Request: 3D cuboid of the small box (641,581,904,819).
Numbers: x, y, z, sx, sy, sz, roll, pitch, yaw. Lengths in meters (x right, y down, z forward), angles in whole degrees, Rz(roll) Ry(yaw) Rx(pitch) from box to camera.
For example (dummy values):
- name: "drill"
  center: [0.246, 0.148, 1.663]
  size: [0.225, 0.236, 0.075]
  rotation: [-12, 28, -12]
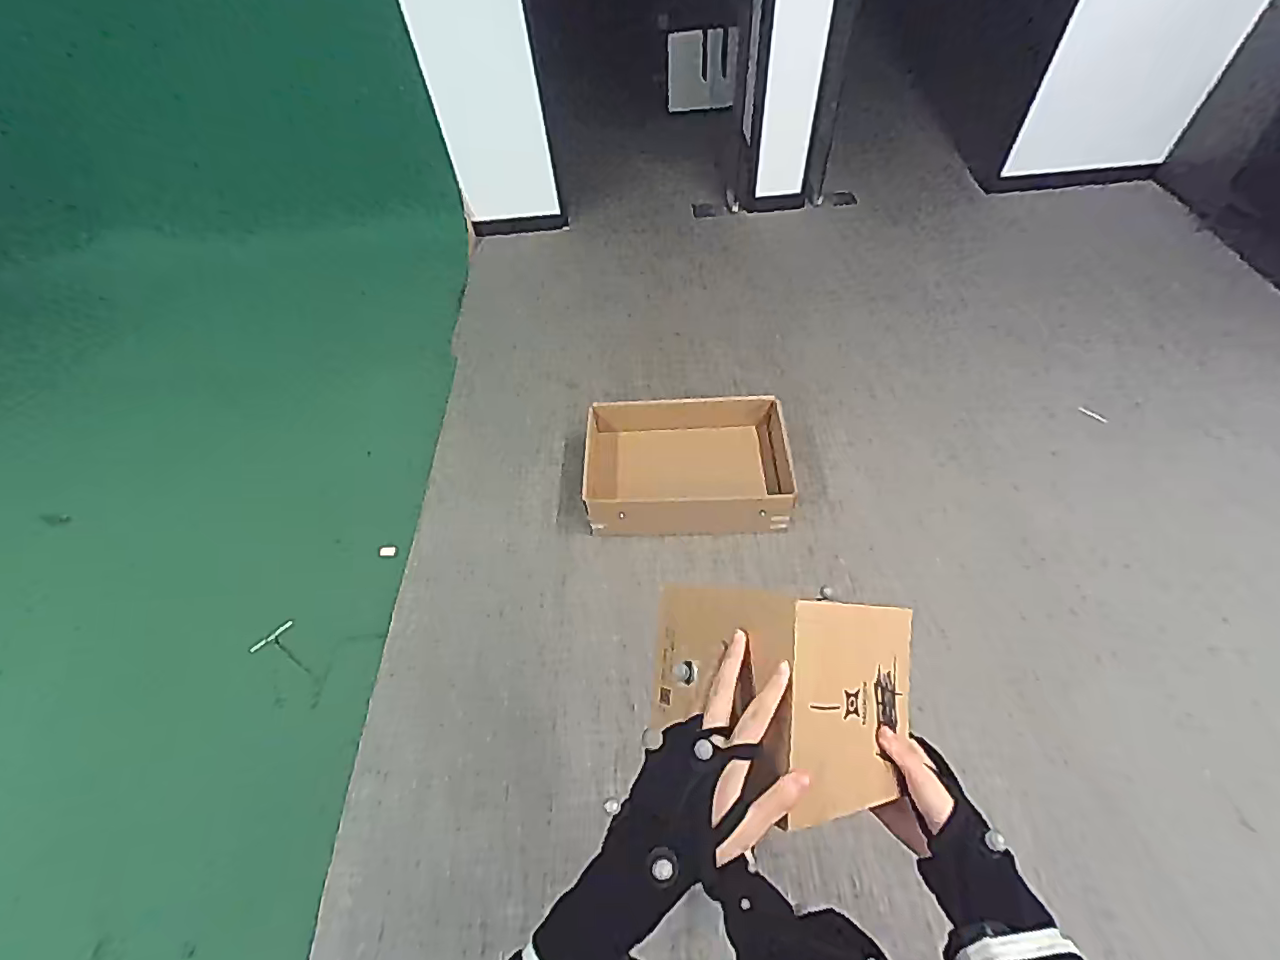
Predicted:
- name: "small box"
  center: [0.125, 0.188, 0.516]
  size: [0.179, 0.176, 0.168]
  rotation: [12, 78, -33]
